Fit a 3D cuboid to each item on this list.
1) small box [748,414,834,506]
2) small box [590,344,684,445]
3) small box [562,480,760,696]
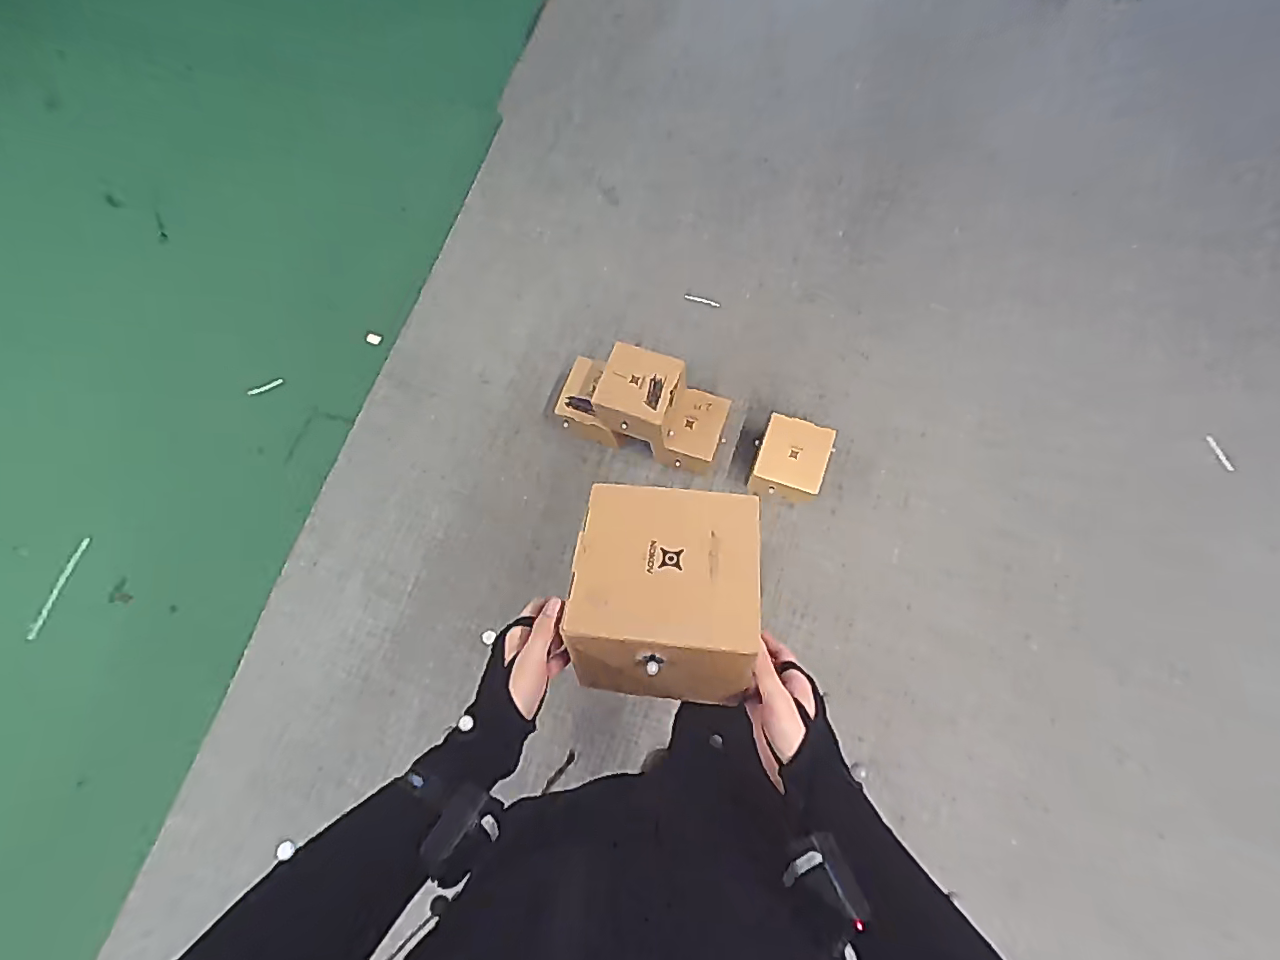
[{"bbox_3d":[0.388,-0.046,1.417,0.168,0.176,0.179,18,78,10],"label":"small box"},{"bbox_3d":[0.001,-0.200,1.320,0.179,0.176,0.168,19,78,10],"label":"small box"},{"bbox_3d":[0.031,0.118,0.576,0.179,0.176,0.168,3,53,7],"label":"small box"}]
